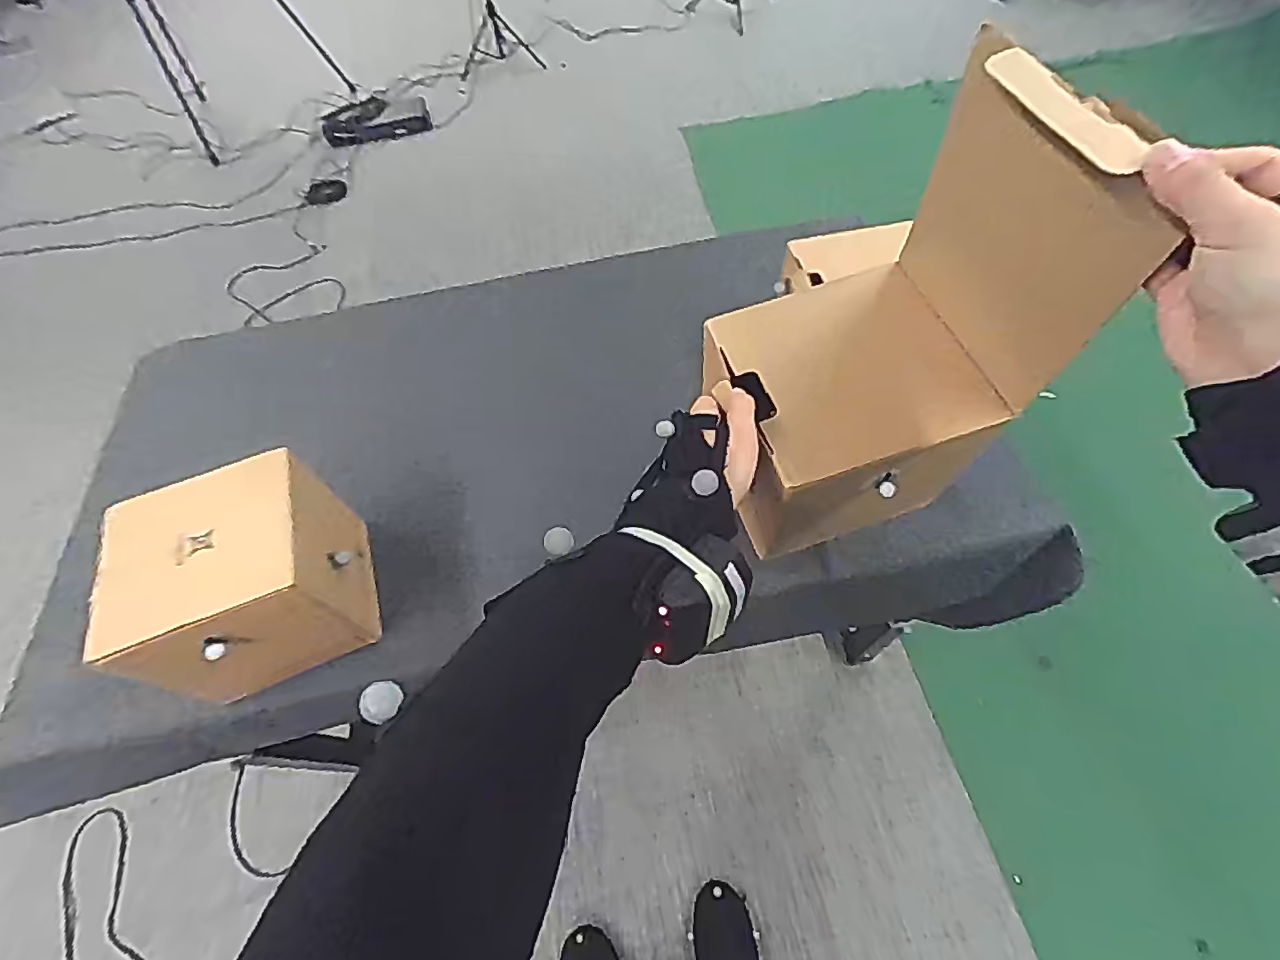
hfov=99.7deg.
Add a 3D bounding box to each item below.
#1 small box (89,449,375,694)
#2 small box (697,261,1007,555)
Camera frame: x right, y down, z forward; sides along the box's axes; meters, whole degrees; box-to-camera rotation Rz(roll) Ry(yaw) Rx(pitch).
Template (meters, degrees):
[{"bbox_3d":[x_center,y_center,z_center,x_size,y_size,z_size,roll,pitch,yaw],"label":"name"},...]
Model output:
[{"bbox_3d":[-0.401,0.101,0.568,0.179,0.176,0.168,-22,59,-7],"label":"small box"},{"bbox_3d":[0.159,-0.051,0.477,0.179,0.176,0.168,-18,65,-5],"label":"small box"}]
